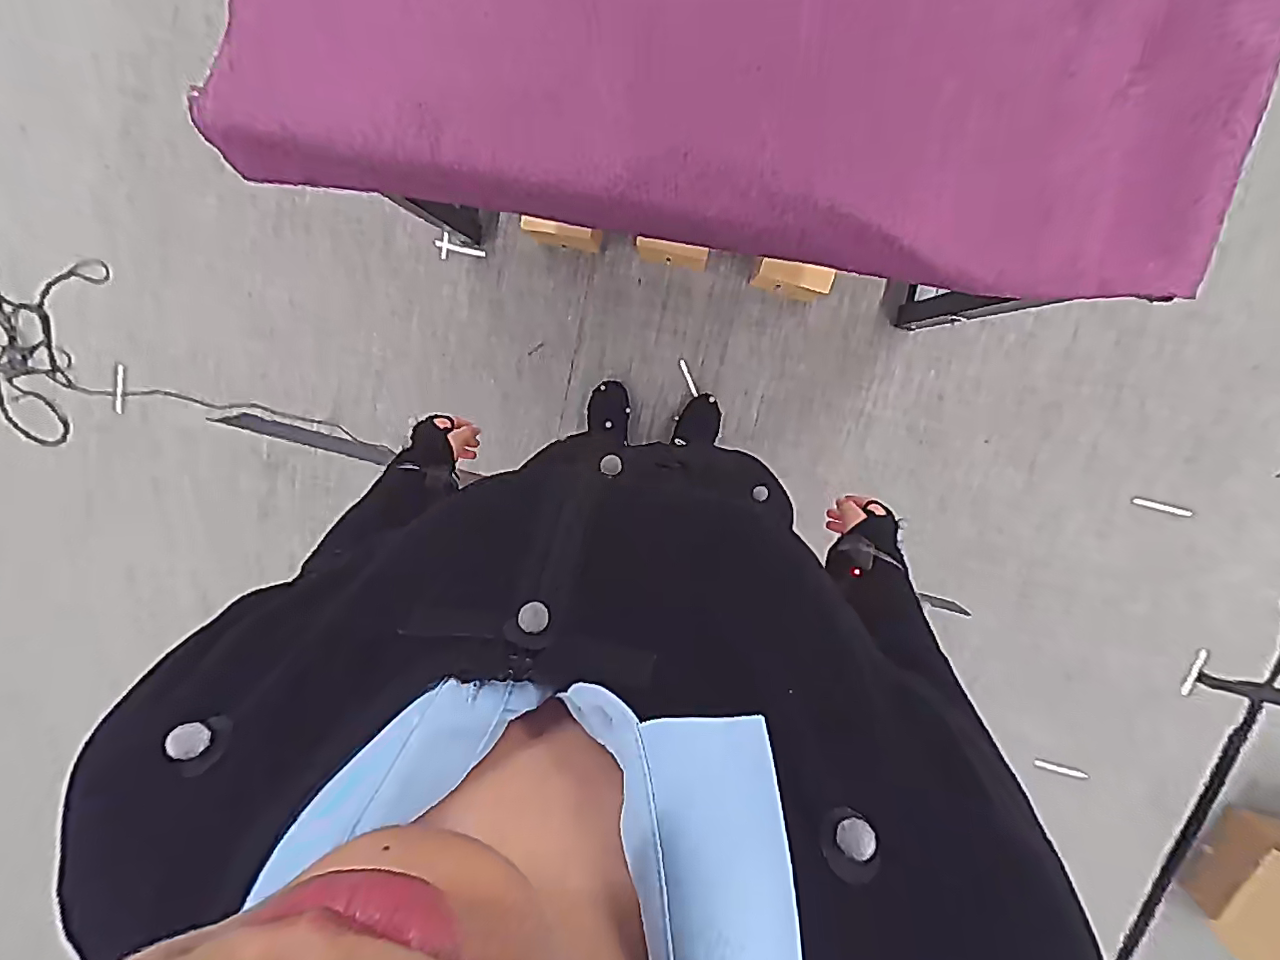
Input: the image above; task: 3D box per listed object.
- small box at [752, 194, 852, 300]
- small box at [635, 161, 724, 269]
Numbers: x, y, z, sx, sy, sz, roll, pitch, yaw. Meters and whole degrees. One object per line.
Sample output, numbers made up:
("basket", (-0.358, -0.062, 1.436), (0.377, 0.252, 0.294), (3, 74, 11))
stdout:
("small box", (0.373, -0.542, 1.284), (0.168, 0.176, 0.179), (17, 101, 1))
("small box", (0.093, -0.618, 1.285), (0.168, 0.176, 0.179), (14, 101, 0))
